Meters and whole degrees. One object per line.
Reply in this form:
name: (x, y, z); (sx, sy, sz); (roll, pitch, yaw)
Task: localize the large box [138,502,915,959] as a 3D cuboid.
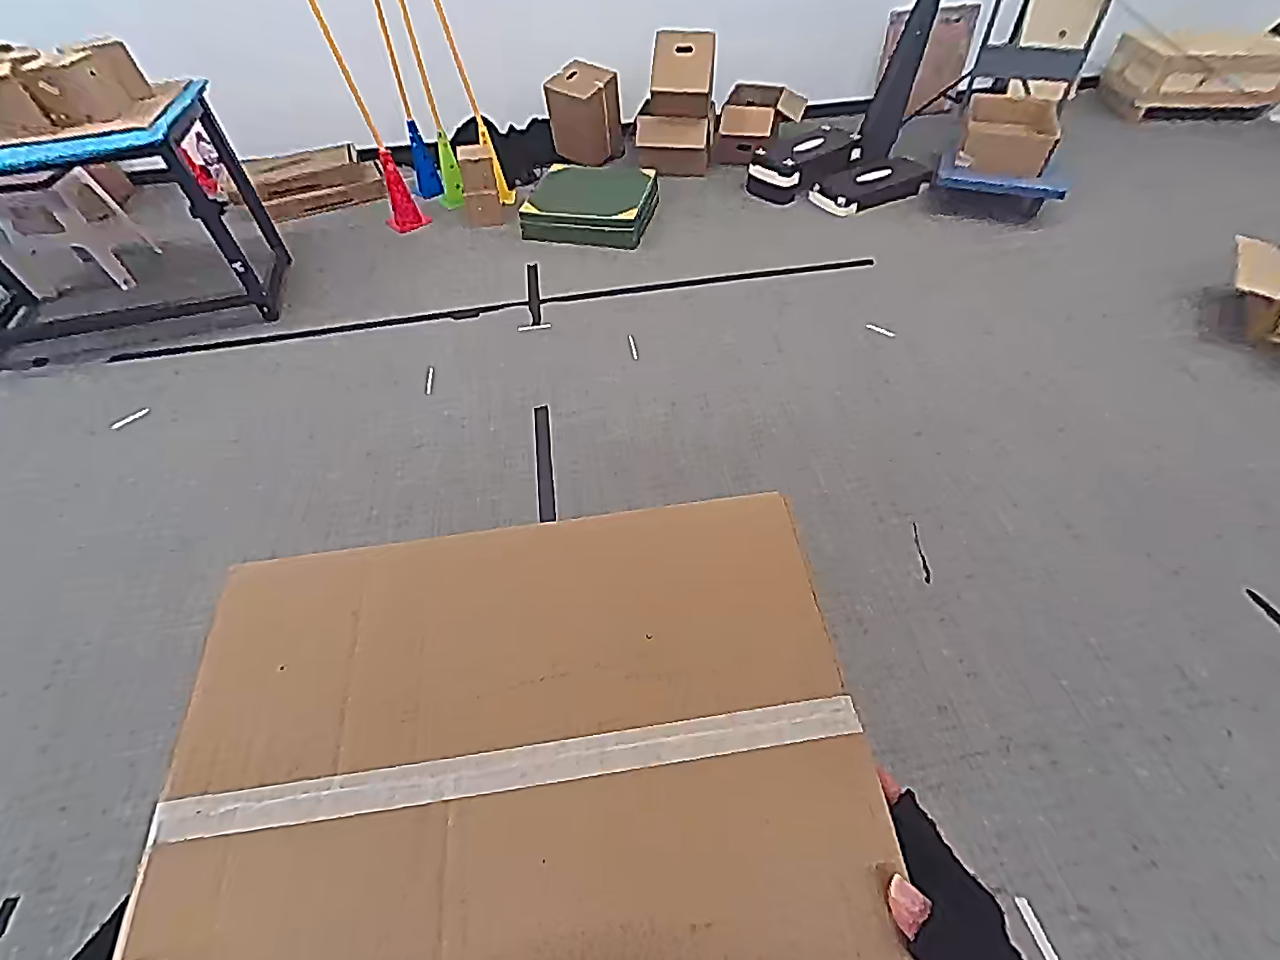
large box: (-0.067, 0.249, 0.451); (0.408, 0.320, 0.320); (-8, 58, -2)
